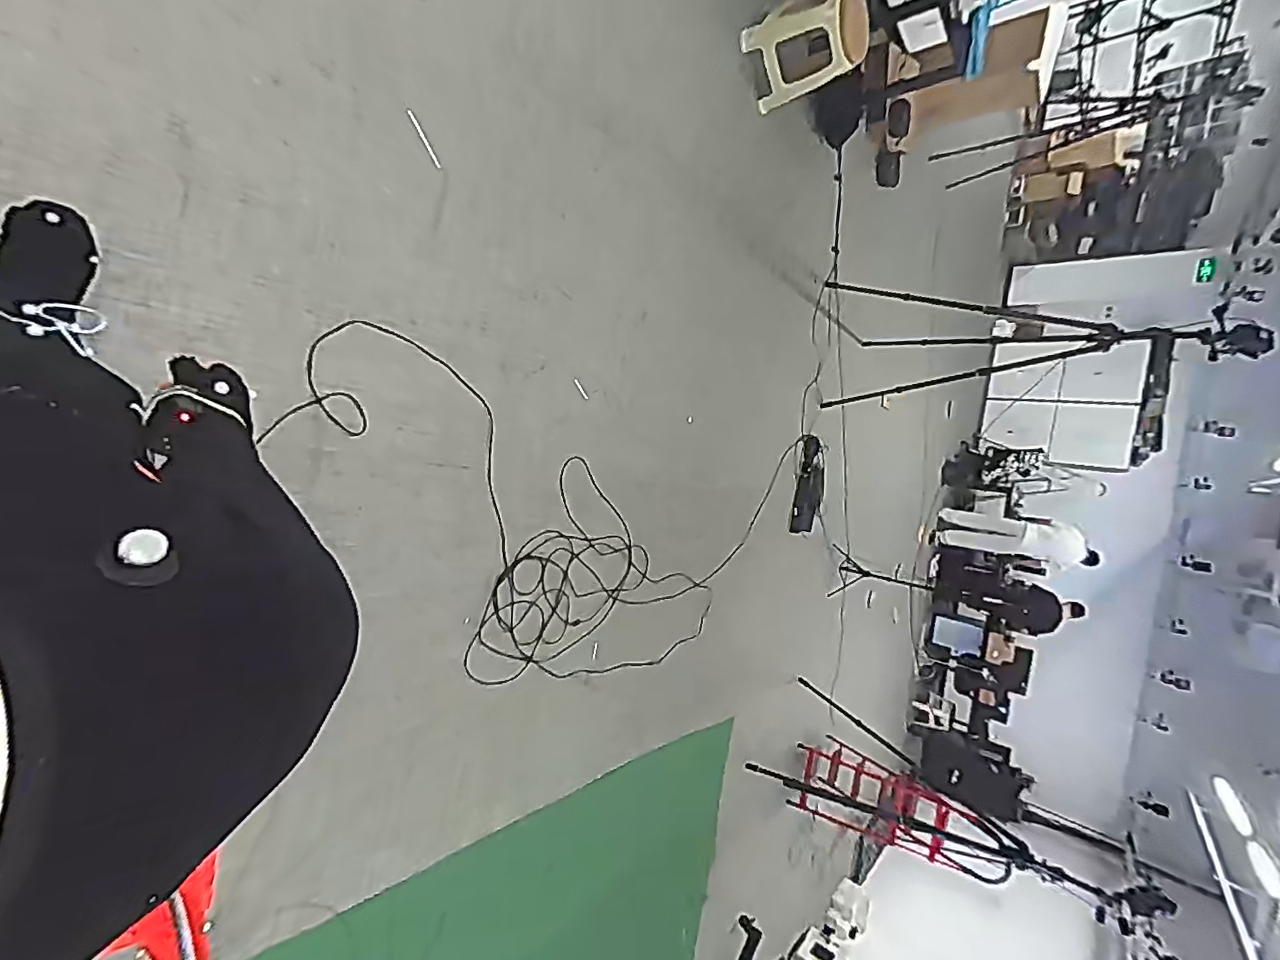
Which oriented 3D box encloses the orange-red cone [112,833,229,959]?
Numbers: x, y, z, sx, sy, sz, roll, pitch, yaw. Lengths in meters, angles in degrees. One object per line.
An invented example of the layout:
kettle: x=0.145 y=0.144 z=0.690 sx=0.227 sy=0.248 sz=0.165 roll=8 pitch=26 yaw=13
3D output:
orange-red cone: x=-0.952 y=0.967 z=1.146 sx=0.198 sy=0.360 sz=0.199 roll=6 pitch=92 yaw=-51
